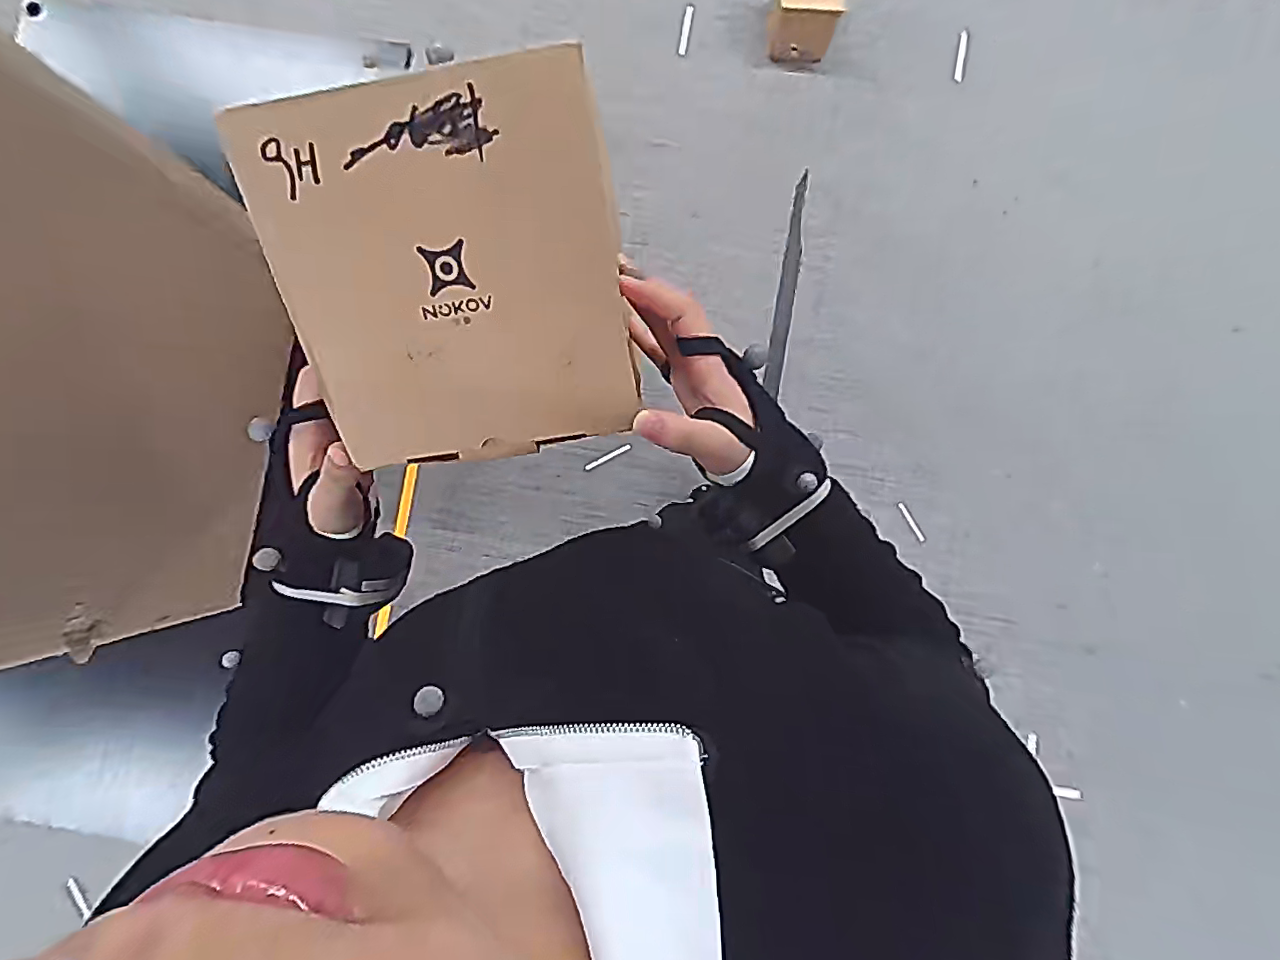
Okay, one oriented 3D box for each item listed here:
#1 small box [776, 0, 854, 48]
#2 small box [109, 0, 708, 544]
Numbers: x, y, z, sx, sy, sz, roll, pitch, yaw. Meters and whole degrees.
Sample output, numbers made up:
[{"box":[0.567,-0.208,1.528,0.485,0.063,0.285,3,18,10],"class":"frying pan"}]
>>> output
[{"box":[0.456,-1.282,1.408,0.168,0.176,0.179,2,89,1],"class":"small box"},{"box":[-0.063,-0.094,0.260,0.168,0.176,0.179,-8,114,4],"class":"small box"}]
